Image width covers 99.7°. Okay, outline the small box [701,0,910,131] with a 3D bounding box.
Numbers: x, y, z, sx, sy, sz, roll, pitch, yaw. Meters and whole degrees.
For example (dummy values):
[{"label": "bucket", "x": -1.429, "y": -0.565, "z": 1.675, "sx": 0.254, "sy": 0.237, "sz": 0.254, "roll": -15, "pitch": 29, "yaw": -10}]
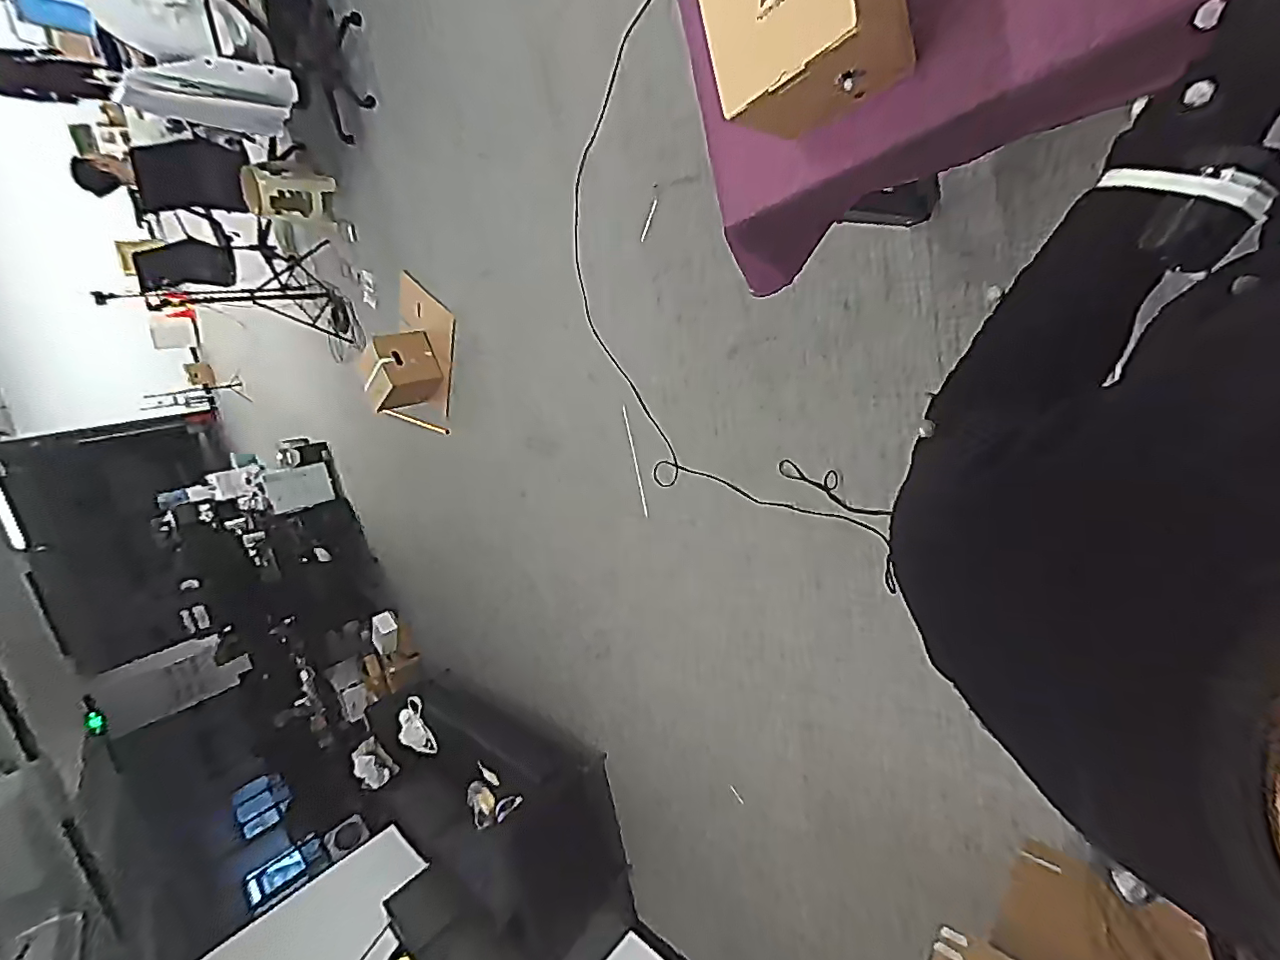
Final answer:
[{"label": "small box", "x": 0.194, "y": -0.538, "z": 0.629, "sx": 0.168, "sy": 0.176, "sz": 0.179, "roll": -6, "pitch": 101, "yaw": 46}]
